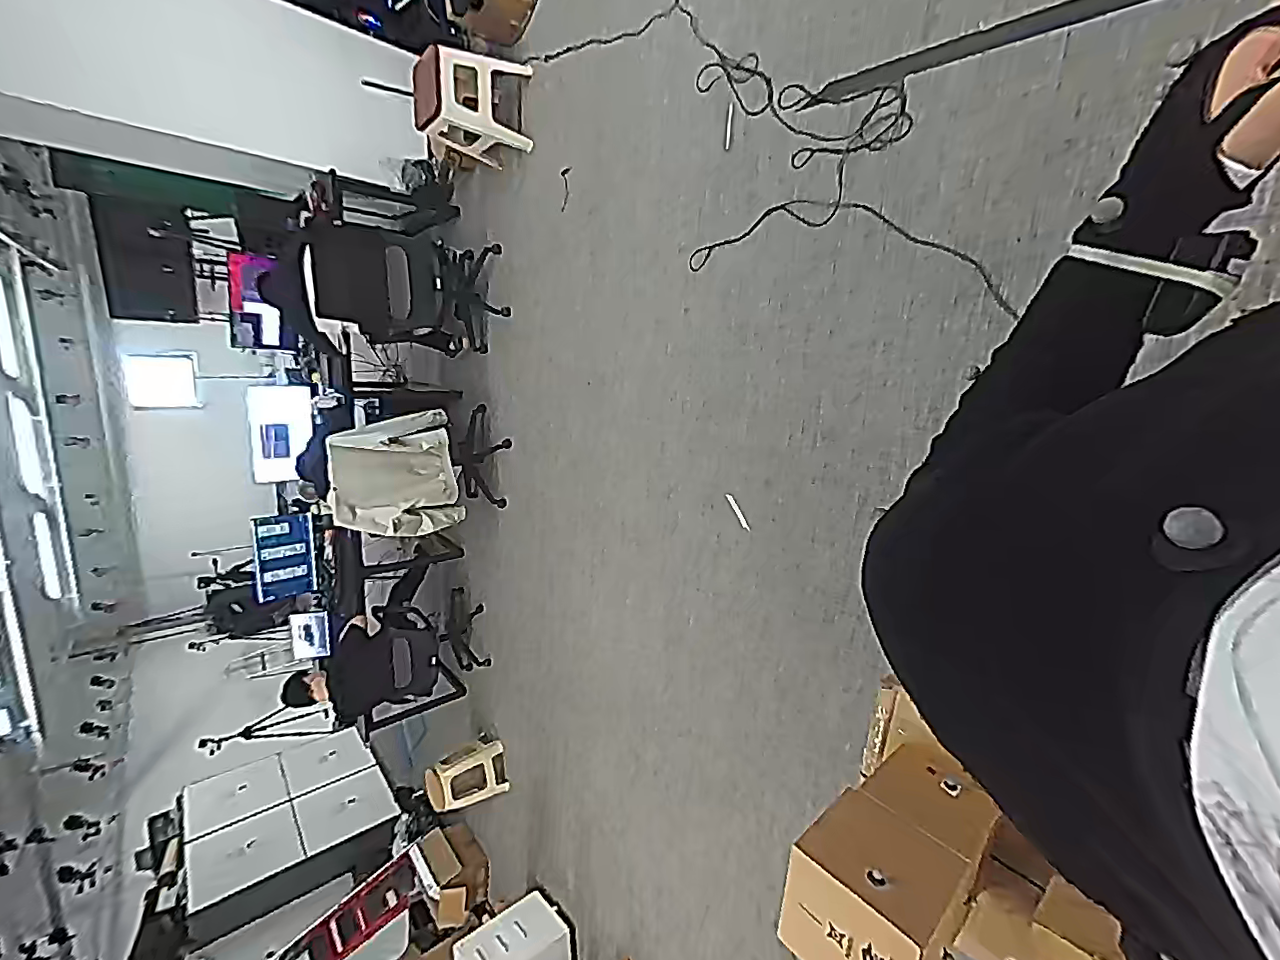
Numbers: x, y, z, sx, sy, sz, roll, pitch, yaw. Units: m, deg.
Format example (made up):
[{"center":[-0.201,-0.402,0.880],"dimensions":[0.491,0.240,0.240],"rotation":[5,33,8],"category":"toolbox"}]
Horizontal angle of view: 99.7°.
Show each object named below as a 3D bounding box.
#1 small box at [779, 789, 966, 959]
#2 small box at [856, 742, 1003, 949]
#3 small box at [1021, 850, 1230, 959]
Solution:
[{"center":[0.322,0.576,0.752],"dimensions":[0.179,0.176,0.168],"rotation":[19,109,46],"category":"small box"},{"center":[0.448,0.561,0.858],"dimensions":[0.168,0.176,0.179],"rotation":[18,107,45],"category":"small box"},{"center":[0.601,0.629,0.681],"dimensions":[0.168,0.176,0.179],"rotation":[18,109,48],"category":"small box"}]
